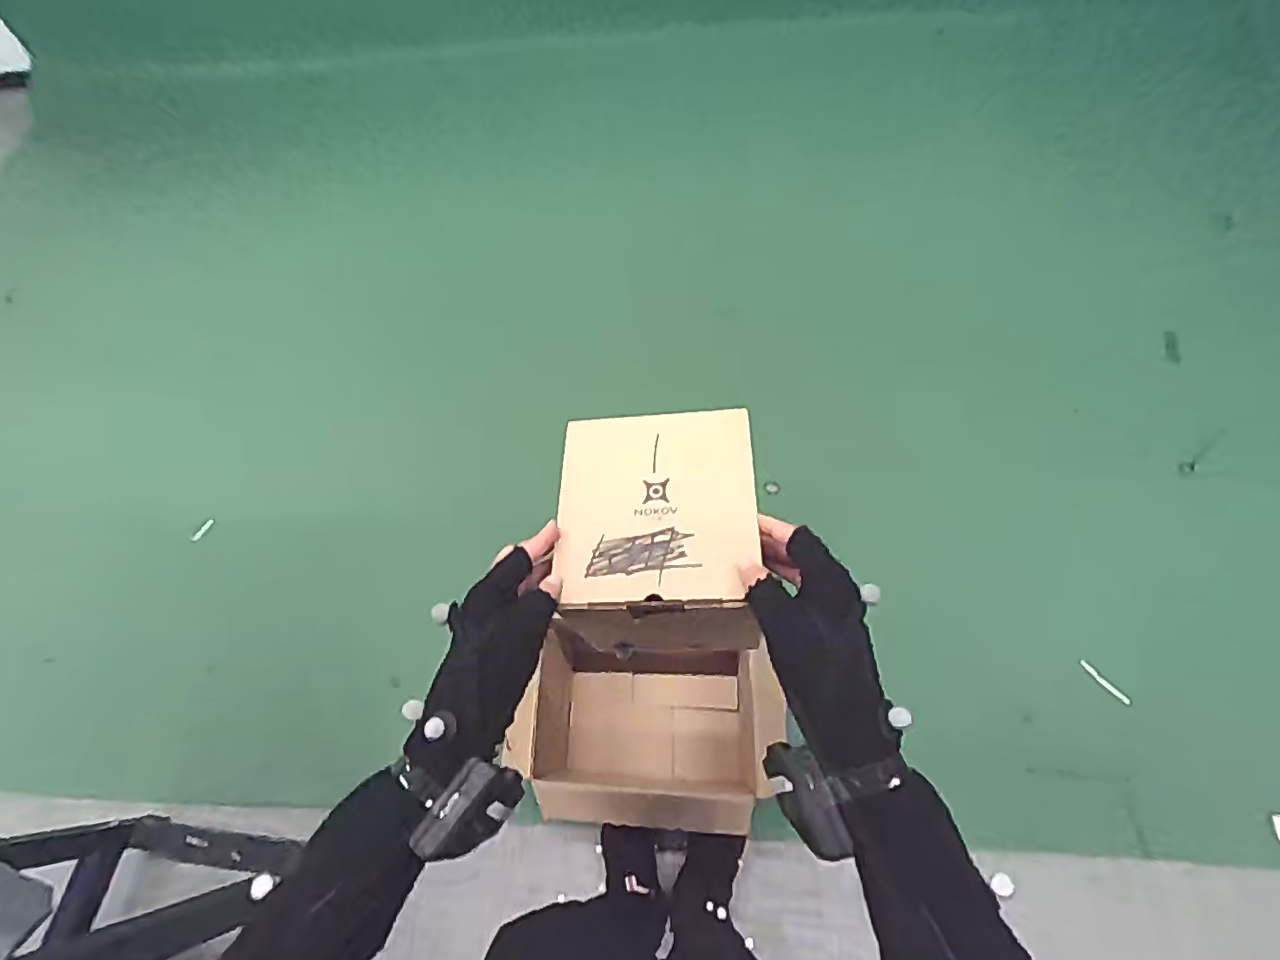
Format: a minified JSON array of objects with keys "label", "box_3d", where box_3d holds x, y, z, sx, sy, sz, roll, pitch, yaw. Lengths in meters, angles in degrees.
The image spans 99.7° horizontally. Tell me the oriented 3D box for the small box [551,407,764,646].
[{"label":"small box","box_3d":[0.026,0.054,0.509,0.168,0.176,0.179,-3,60,8]}]
